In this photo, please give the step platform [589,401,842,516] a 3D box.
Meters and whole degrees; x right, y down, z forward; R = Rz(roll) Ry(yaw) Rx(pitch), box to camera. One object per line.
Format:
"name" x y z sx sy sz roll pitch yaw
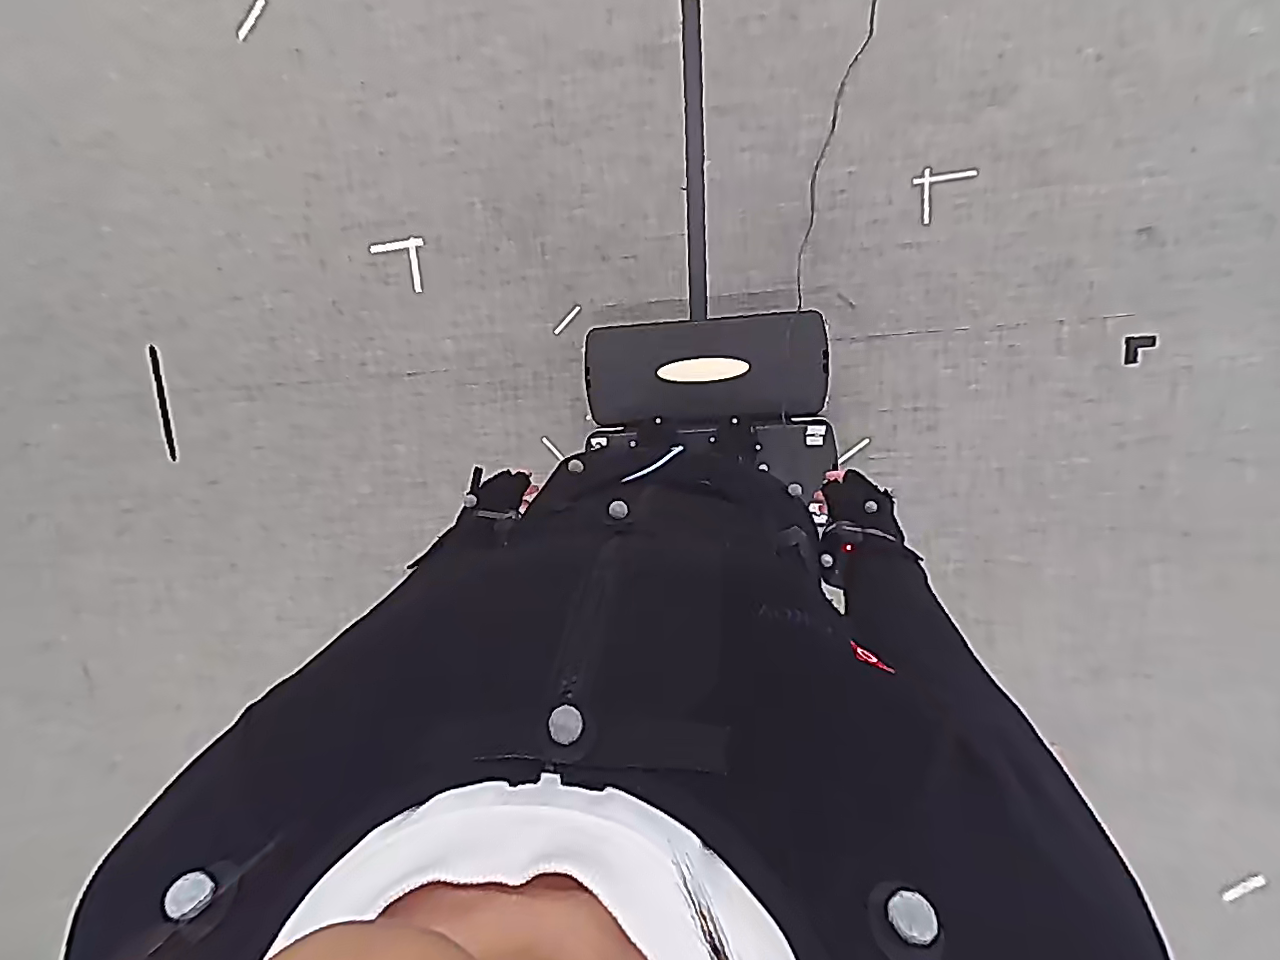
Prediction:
"step platform" 0.200 -0.057 1.506 0.684 0.204 0.286 -3 97 10
